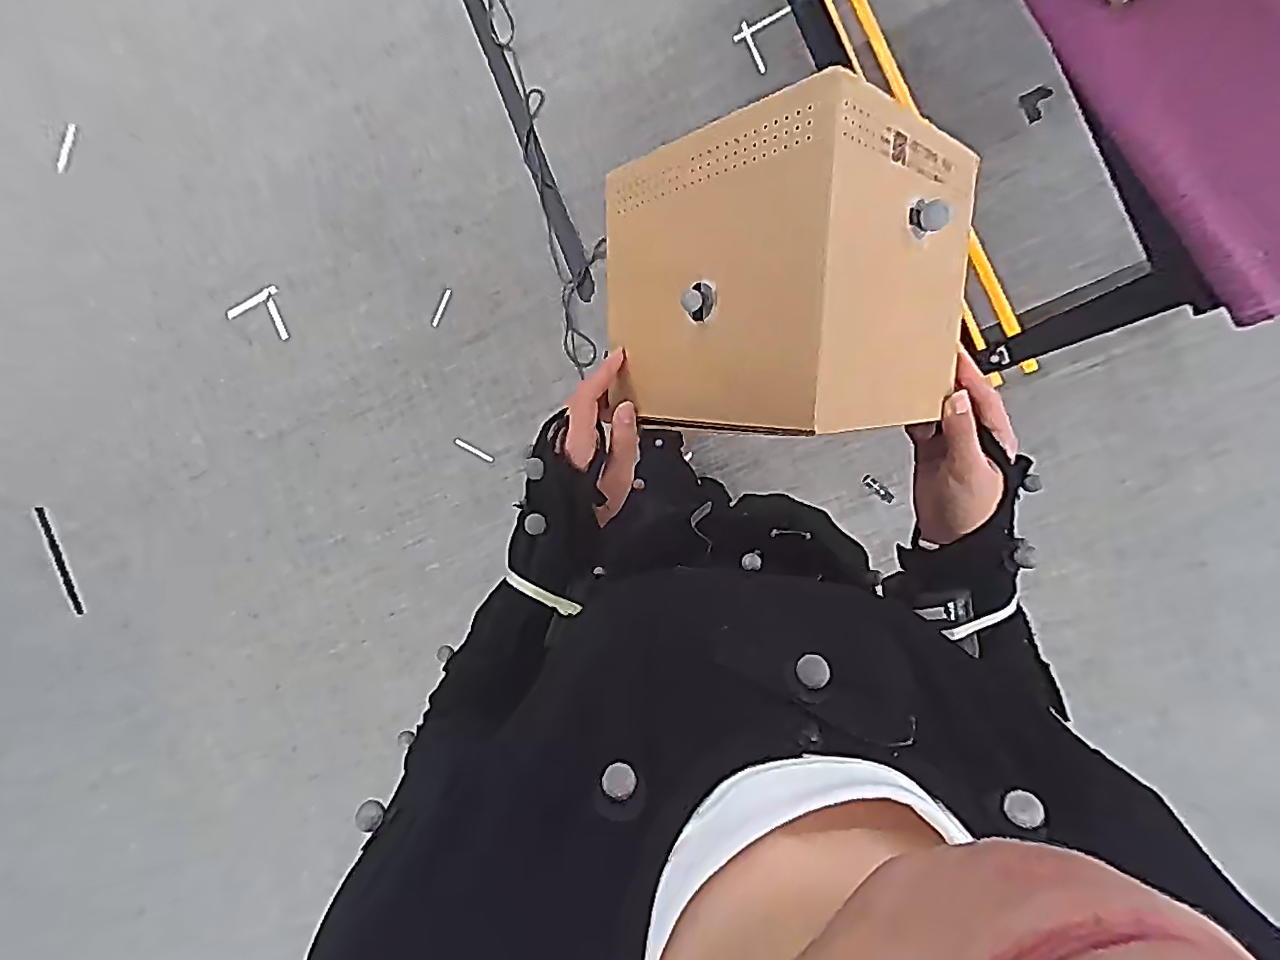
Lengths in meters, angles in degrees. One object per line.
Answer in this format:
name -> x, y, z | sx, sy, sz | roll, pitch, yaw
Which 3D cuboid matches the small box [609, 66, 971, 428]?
small box -> 0.095, -0.129, 0.367 | 0.179, 0.168, 0.176 | 12, 107, 49
